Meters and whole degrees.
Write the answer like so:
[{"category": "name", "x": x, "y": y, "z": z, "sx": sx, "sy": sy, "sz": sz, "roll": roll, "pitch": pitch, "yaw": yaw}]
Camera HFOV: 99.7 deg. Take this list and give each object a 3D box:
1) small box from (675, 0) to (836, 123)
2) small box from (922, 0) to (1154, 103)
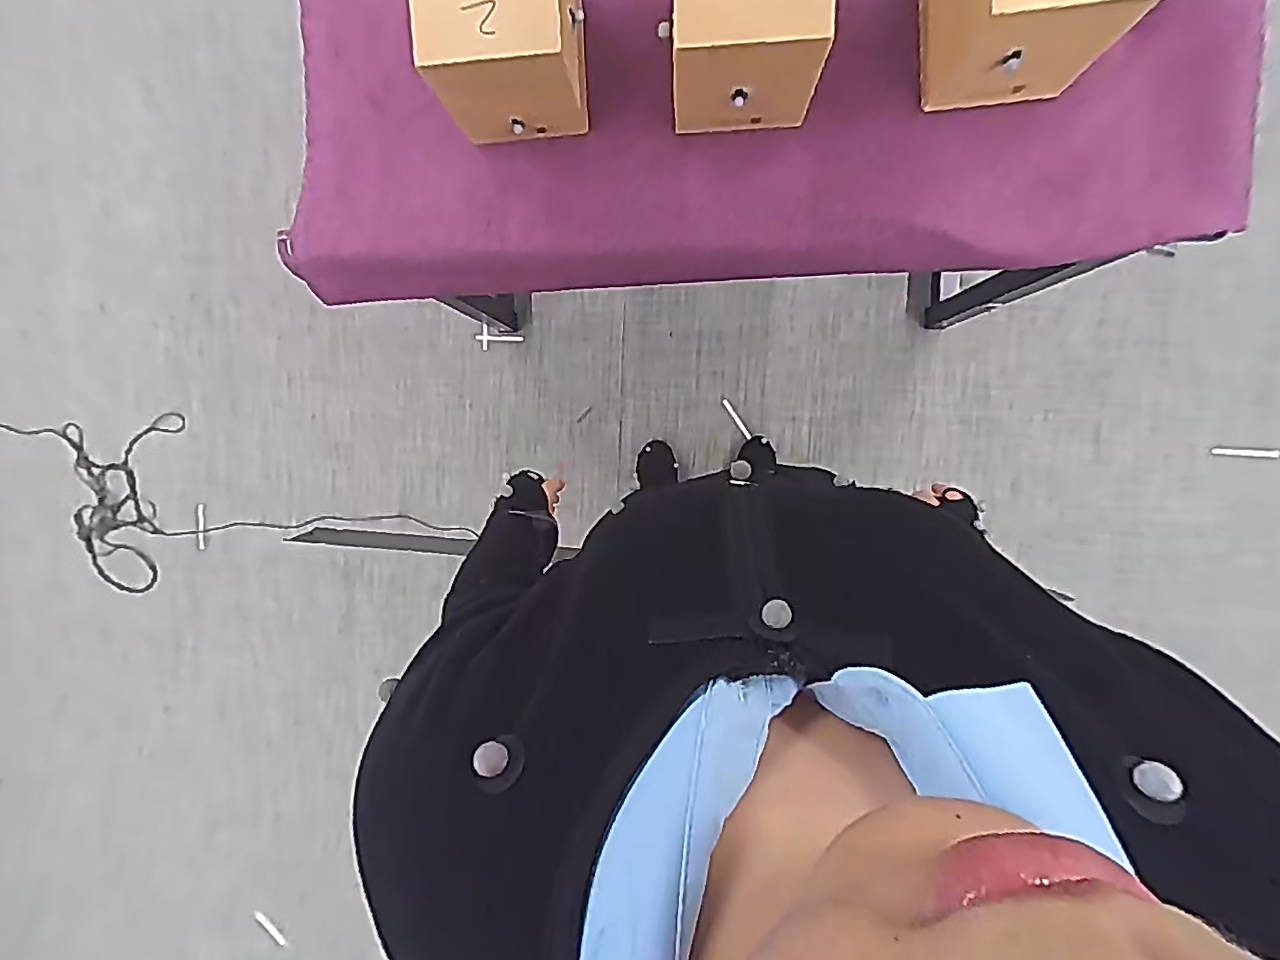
[{"category": "small box", "x": 0.126, "y": -0.547, "z": 0.631, "sx": 0.168, "sy": 0.176, "sz": 0.179, "roll": 0, "pitch": 95, "yaw": 4}, {"category": "small box", "x": 0.435, "y": -0.558, "z": 0.605, "sx": 0.168, "sy": 0.176, "sz": 0.179, "roll": -3, "pitch": 93, "yaw": 6}]
